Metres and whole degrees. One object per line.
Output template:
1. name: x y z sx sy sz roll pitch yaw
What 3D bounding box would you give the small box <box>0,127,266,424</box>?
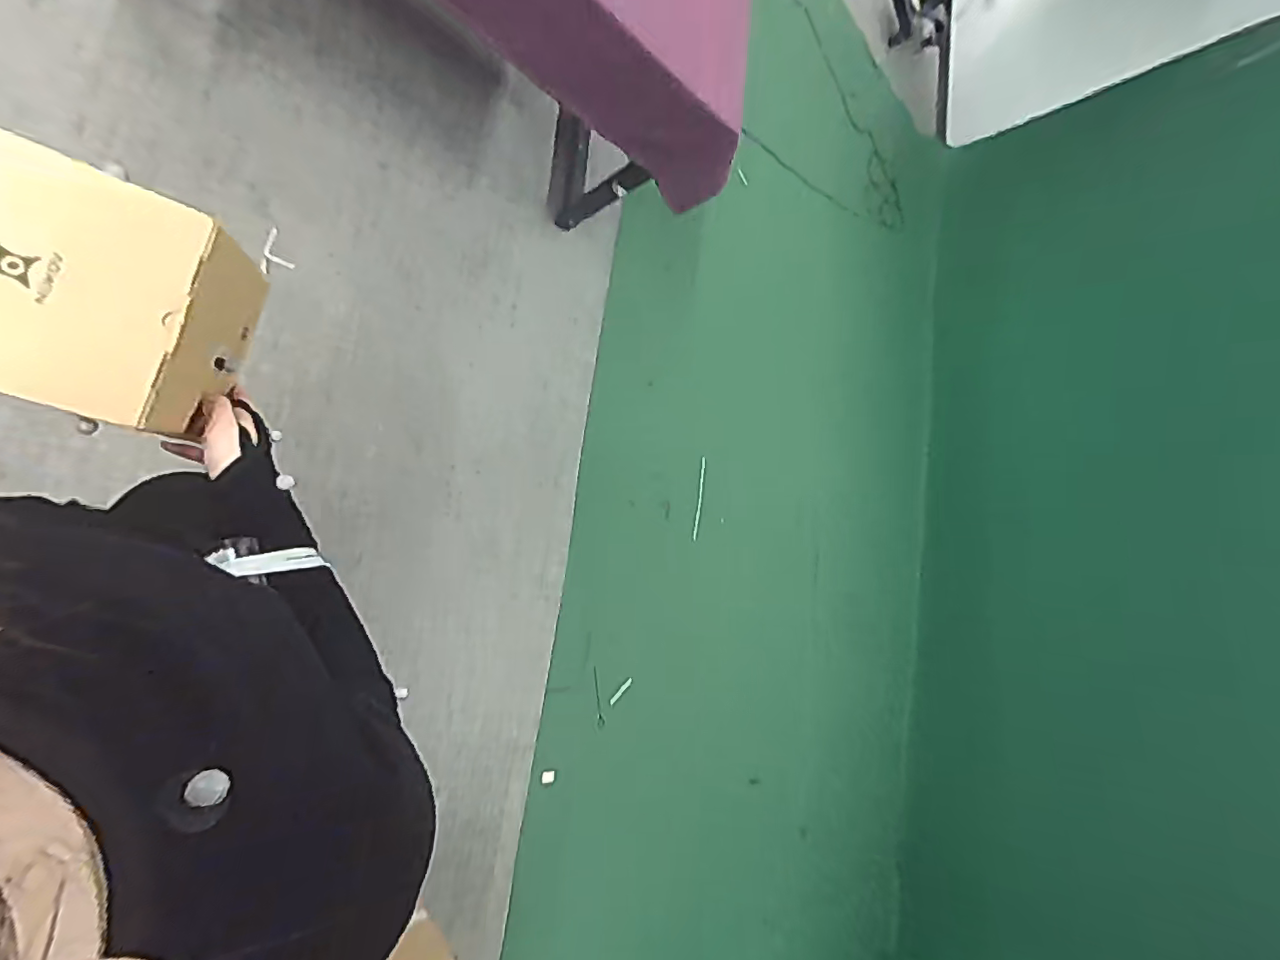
1. small box: -0.442 -0.147 0.438 0.179 0.176 0.168 18 86 -25
